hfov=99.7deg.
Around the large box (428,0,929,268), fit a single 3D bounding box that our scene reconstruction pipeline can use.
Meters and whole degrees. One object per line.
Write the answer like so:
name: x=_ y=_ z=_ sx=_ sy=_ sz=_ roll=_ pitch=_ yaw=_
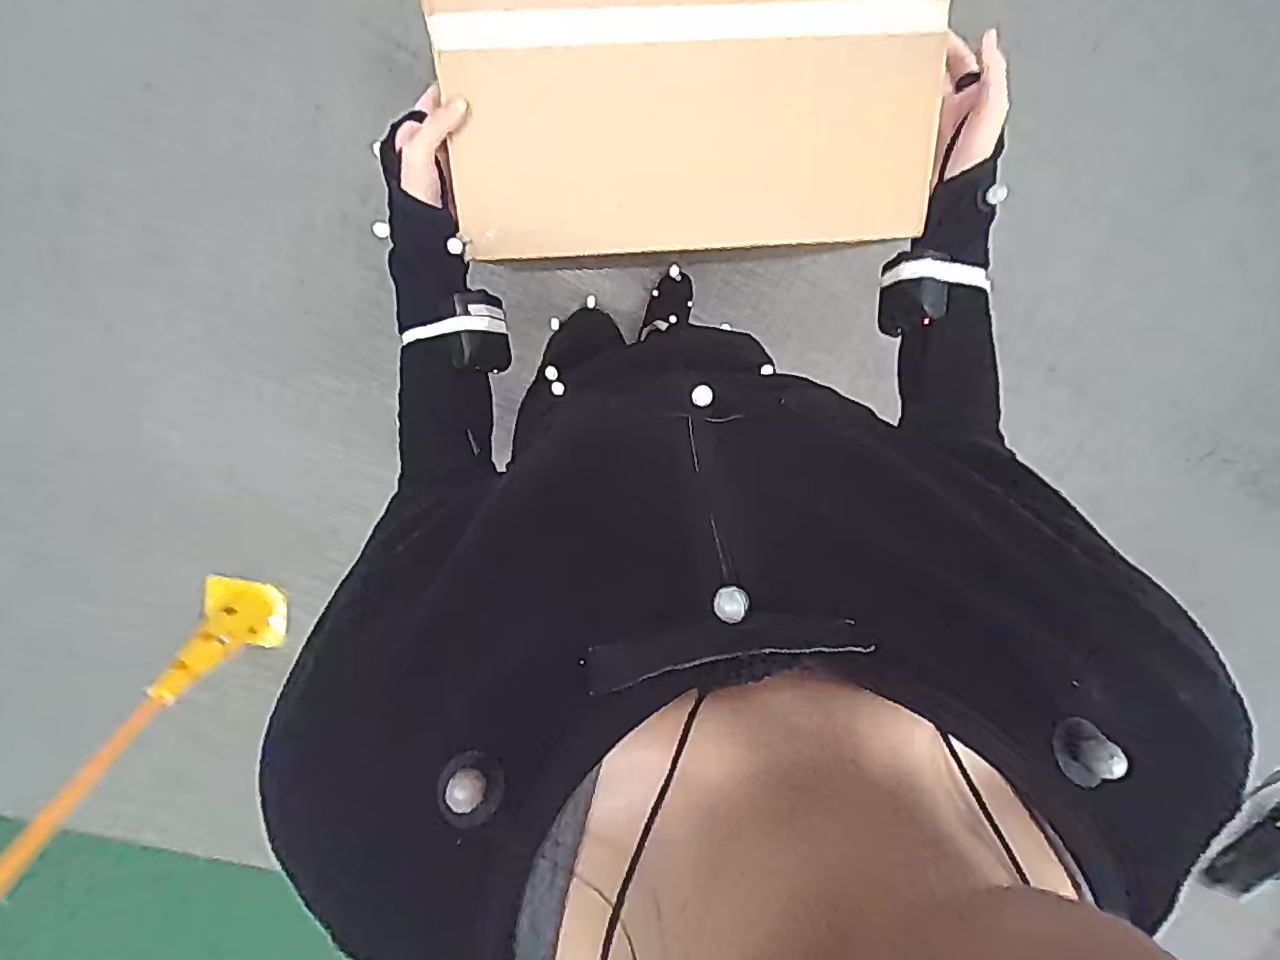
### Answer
large box: x=0.029 y=-0.409 z=0.571 sx=0.408 sy=0.320 sz=0.320 roll=-6 pitch=109 yaw=-2
